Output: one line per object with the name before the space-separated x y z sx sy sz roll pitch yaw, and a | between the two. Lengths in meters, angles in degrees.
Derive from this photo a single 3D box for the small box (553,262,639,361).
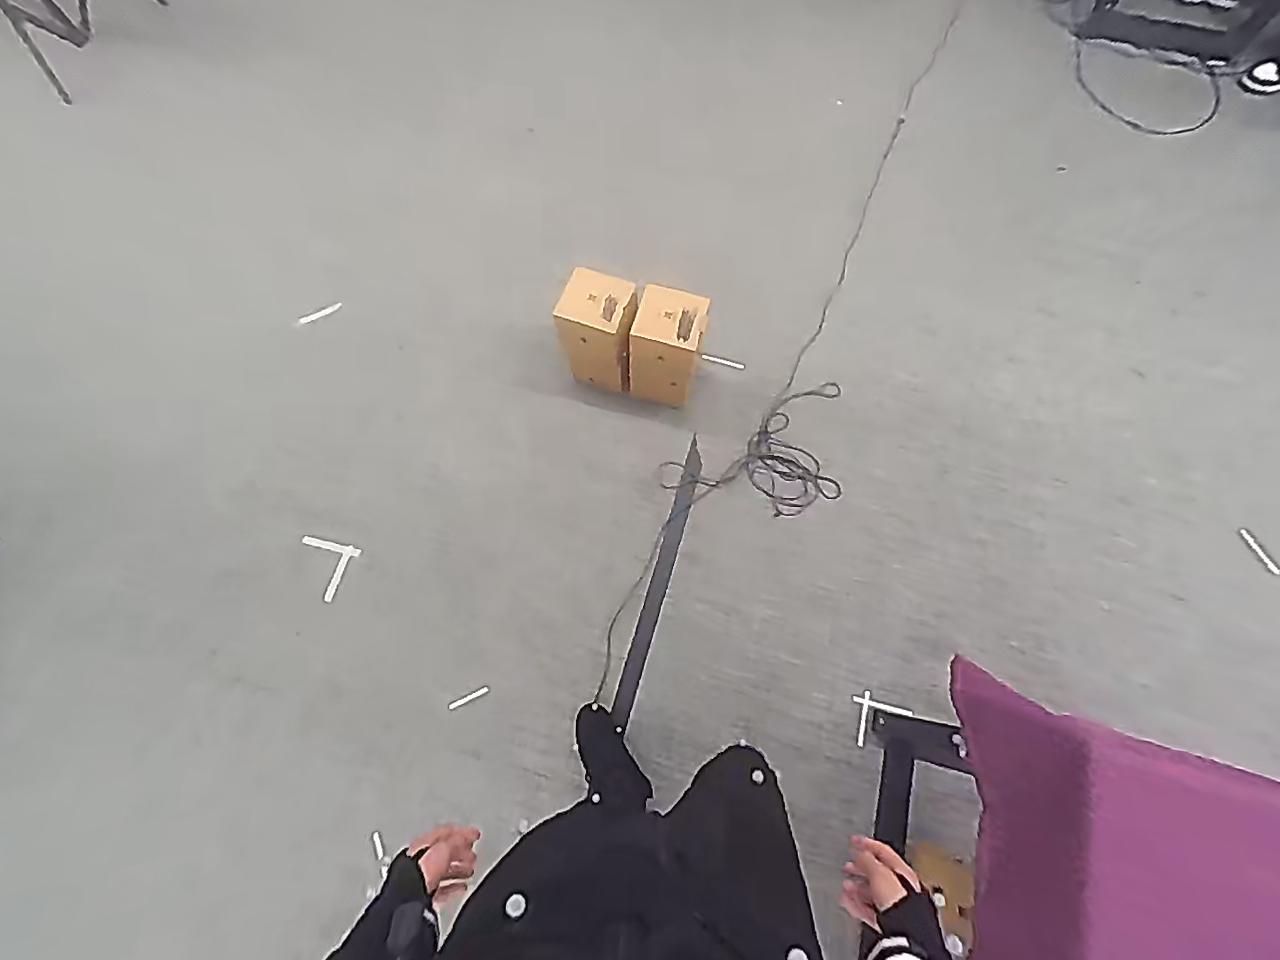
small box | -0.109 -0.447 1.461 0.179 0.176 0.168 19 73 9
